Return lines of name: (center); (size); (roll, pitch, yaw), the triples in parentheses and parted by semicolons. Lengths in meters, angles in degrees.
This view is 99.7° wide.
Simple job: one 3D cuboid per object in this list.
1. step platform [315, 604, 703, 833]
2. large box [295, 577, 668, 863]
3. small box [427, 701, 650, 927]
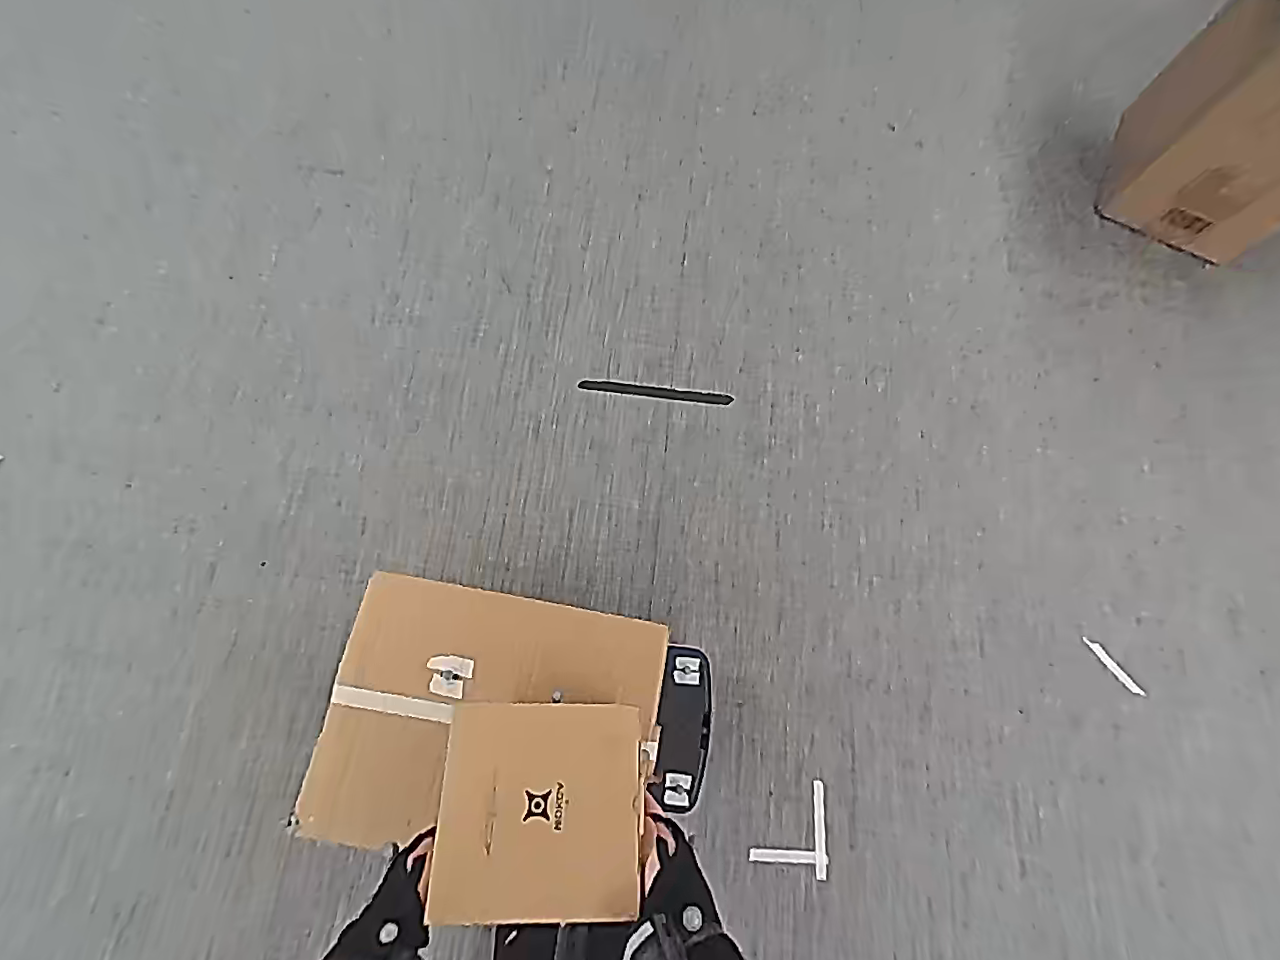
step platform: (-0.225, 0.430, 1.031); (0.684, 0.204, 0.286); (13, 71, 1)
large box: (-0.186, 0.348, 0.809); (0.408, 0.320, 0.320); (11, 71, 0)
small box: (-0.086, 0.310, 0.531); (0.179, 0.176, 0.168); (3, 65, -4)
